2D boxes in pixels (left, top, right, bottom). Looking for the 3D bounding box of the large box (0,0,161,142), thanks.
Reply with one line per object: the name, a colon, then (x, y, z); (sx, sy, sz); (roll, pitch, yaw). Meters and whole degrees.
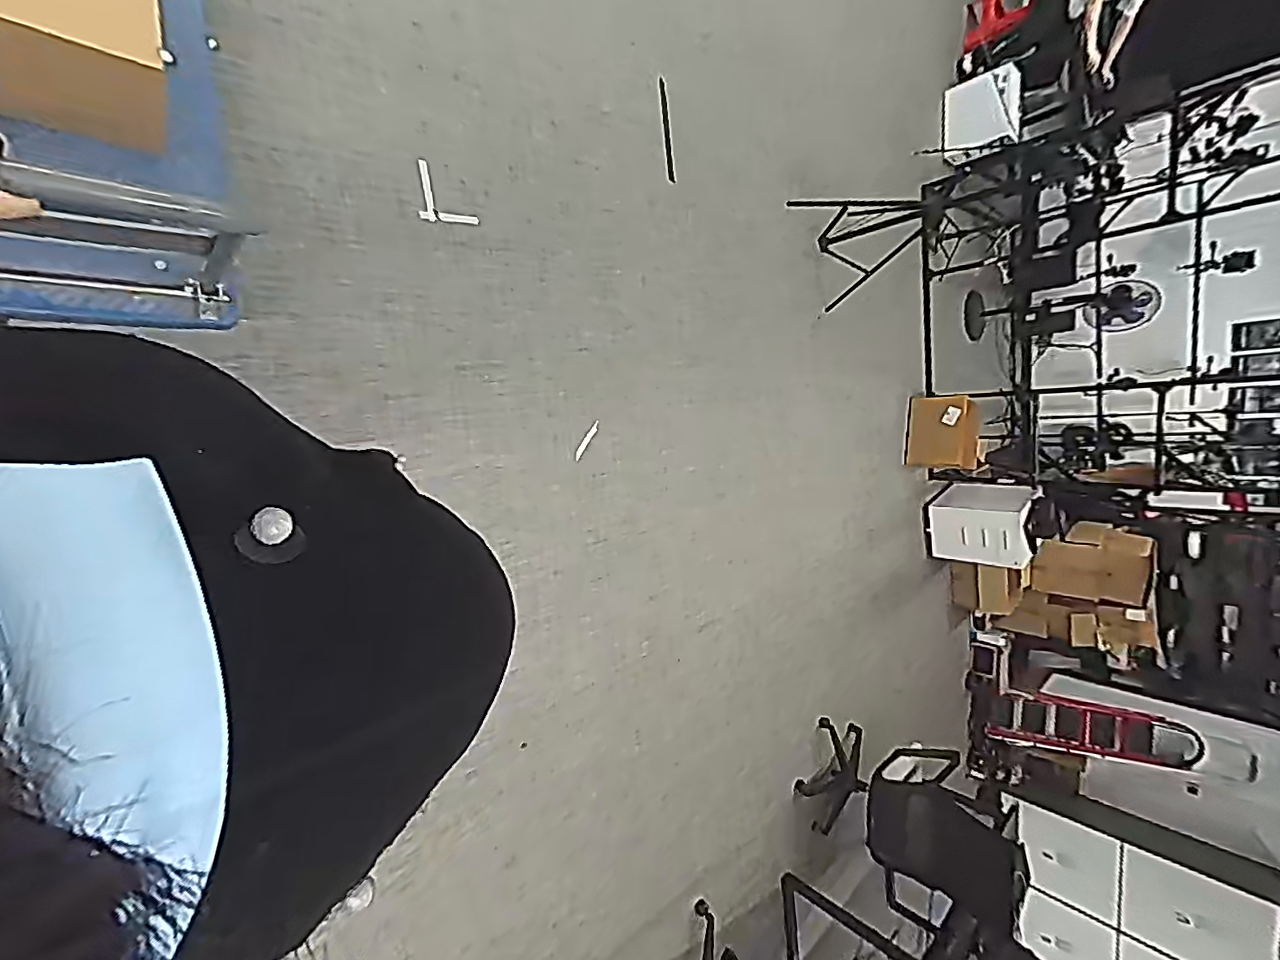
large box: (-0.947, -0.744, 0.747); (0.408, 0.320, 0.320); (-5, 95, -41)
